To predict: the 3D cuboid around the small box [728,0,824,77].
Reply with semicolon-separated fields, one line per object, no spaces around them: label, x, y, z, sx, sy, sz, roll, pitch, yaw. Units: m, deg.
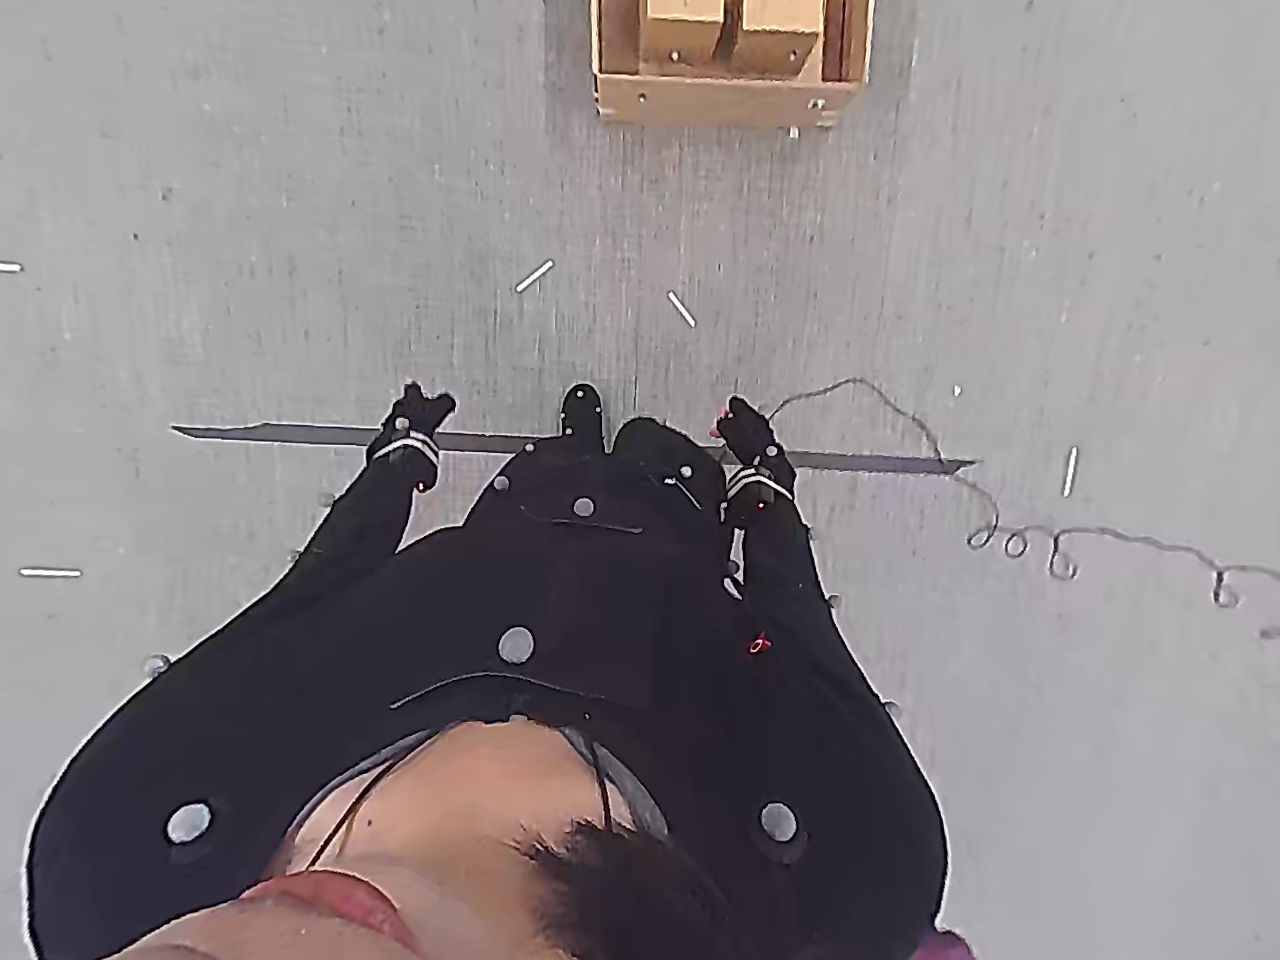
small box;0.305;-1.054;1.228;0.179;0.176;0.168;1;99;-1
